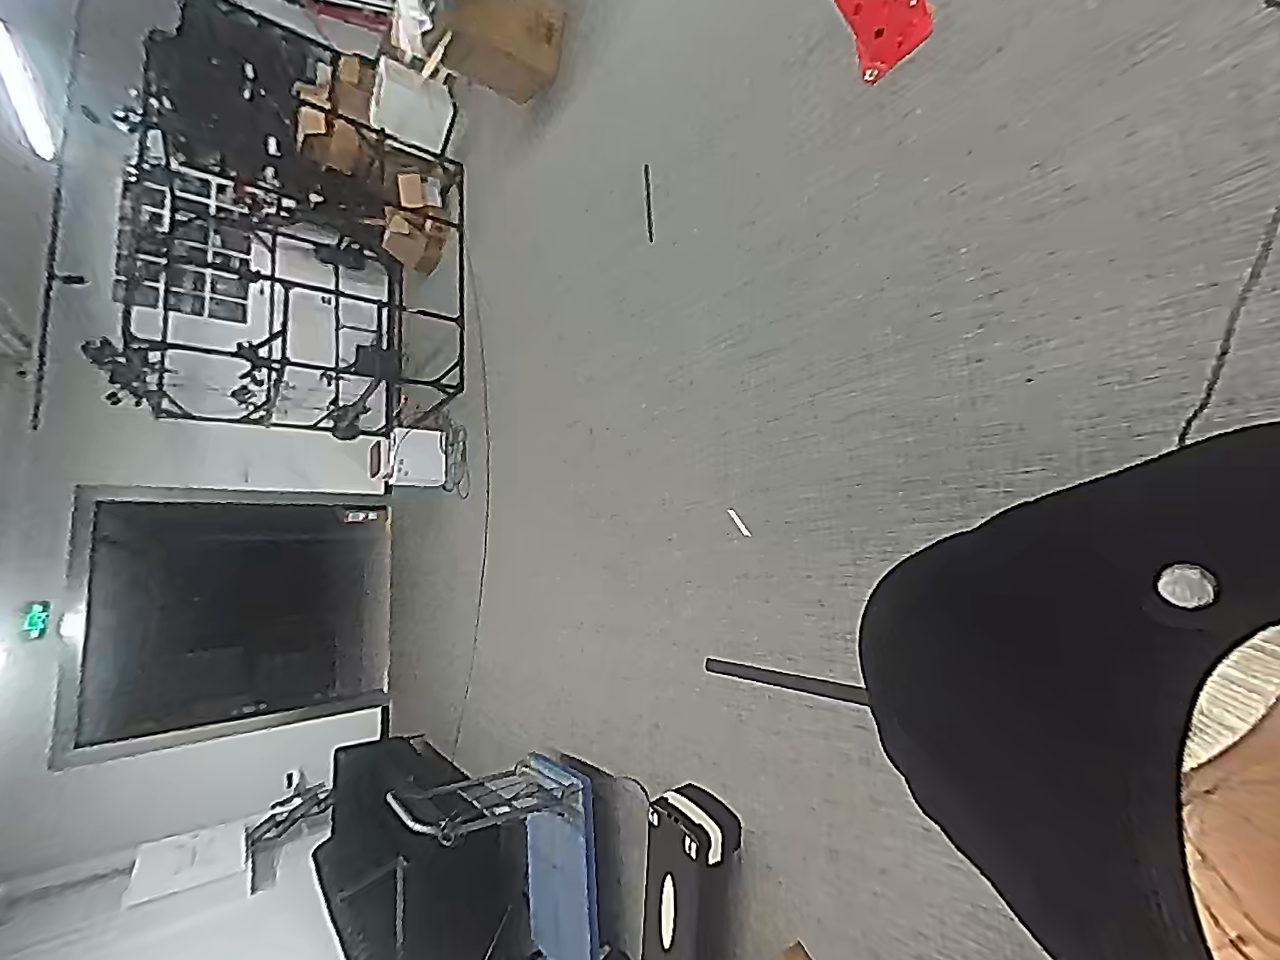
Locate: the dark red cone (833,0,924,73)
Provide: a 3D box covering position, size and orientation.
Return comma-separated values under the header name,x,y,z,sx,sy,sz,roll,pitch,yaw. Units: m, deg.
name,x,y,z,sx,sy,sz,roll,pitch,yaw
dark red cone,0.556,-1.296,1.419,0.201,0.394,0.202,-23,69,49
